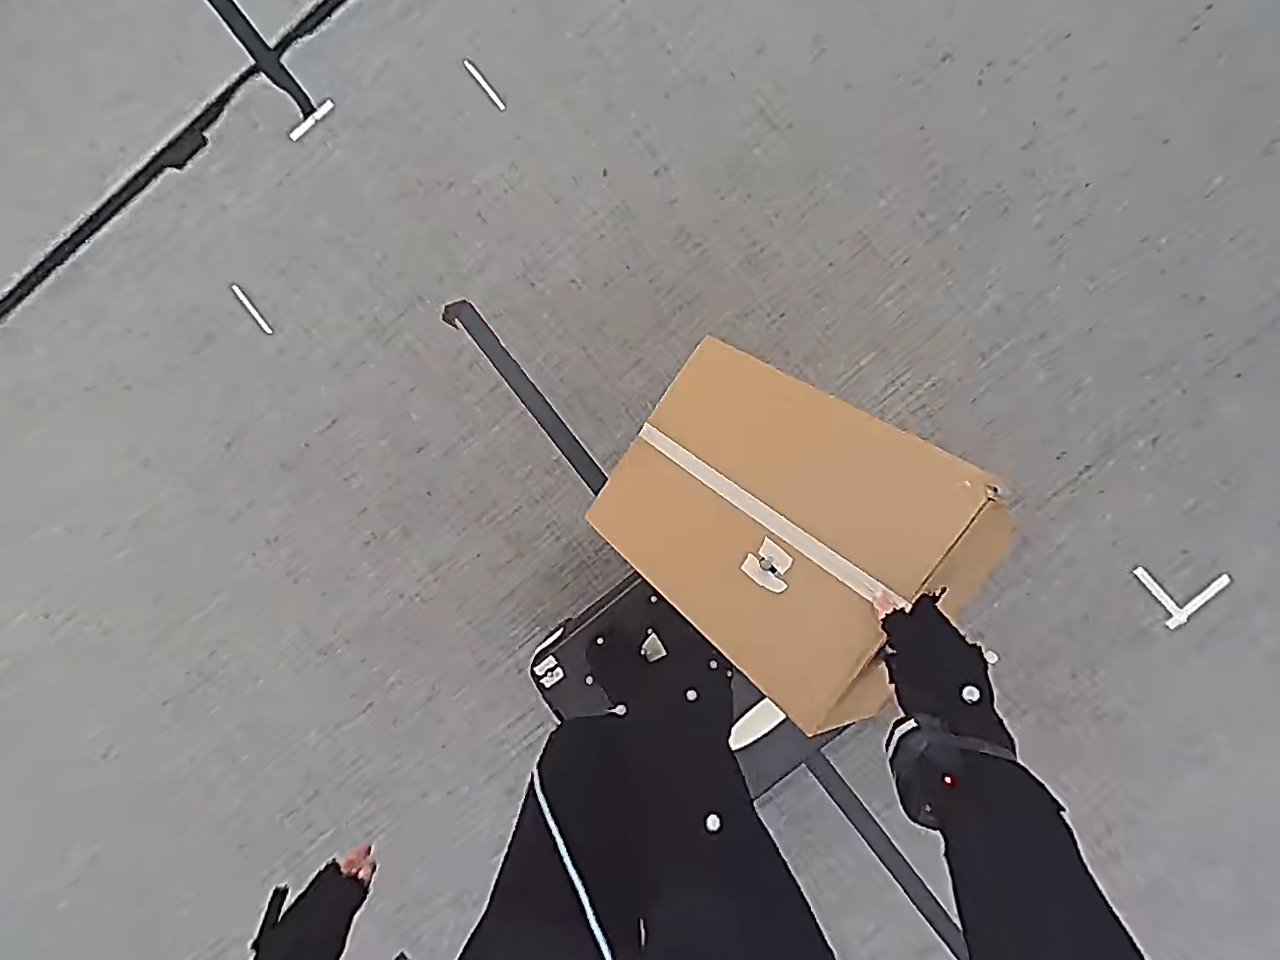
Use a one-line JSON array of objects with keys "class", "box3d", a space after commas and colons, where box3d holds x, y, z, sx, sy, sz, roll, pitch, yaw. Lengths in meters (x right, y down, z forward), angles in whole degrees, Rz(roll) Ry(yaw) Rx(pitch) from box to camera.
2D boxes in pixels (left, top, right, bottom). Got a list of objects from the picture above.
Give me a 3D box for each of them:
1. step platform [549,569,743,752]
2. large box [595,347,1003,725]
[{"class": "step platform", "box3d": [0.127, 0.273, 1.203, 0.684, 0.204, 0.286, -40, 88, 2]}, {"class": "large box", "box3d": [0.220, 0.073, 0.775, 0.408, 0.320, 0.320, 39, 98, 36]}]
